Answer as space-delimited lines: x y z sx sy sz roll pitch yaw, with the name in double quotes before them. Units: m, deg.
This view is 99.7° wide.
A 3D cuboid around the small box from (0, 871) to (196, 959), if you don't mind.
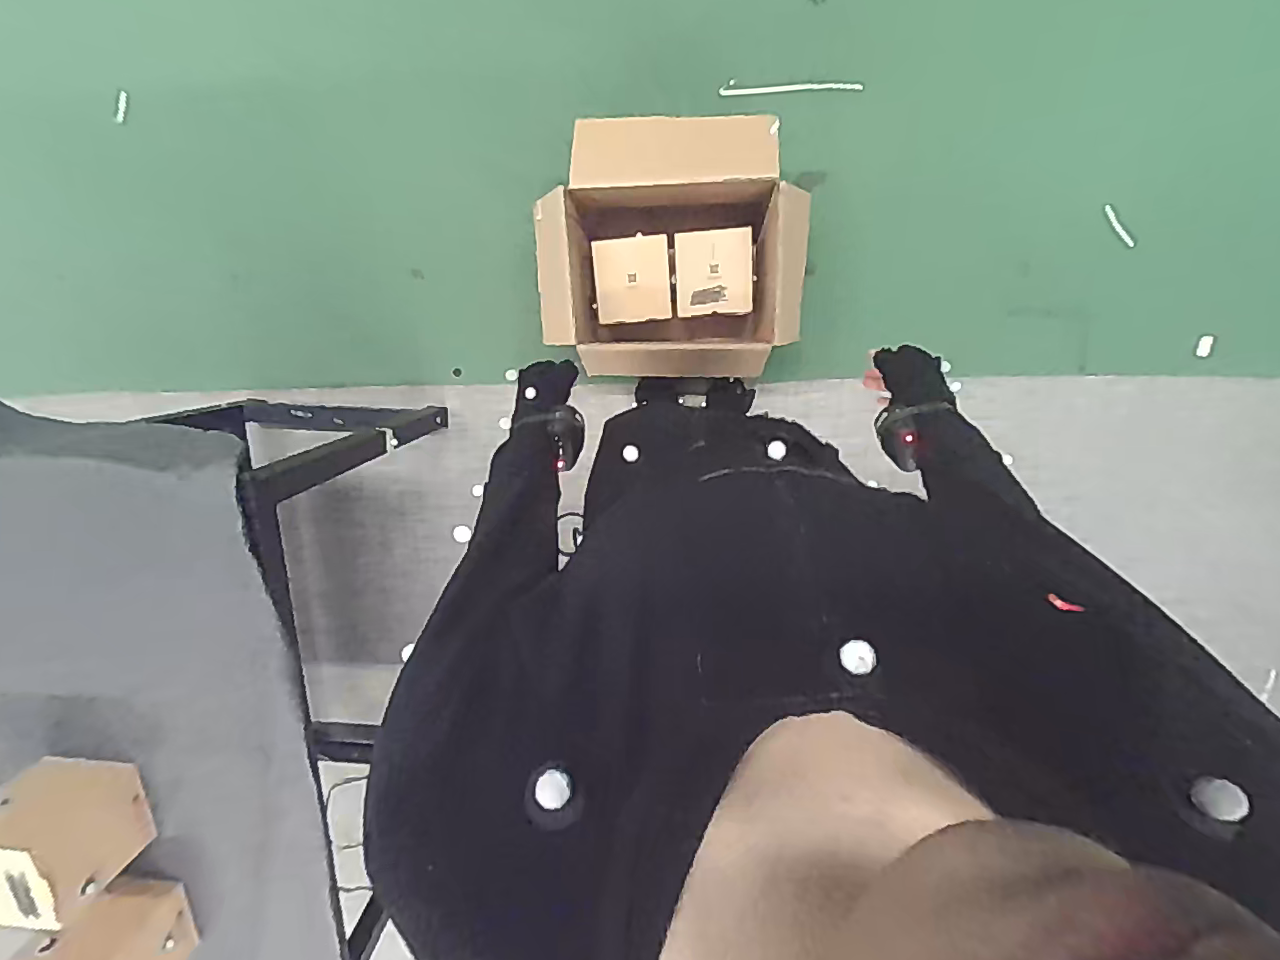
"small box" -0.967 0.851 0.978 0.179 0.176 0.168 2 107 3
